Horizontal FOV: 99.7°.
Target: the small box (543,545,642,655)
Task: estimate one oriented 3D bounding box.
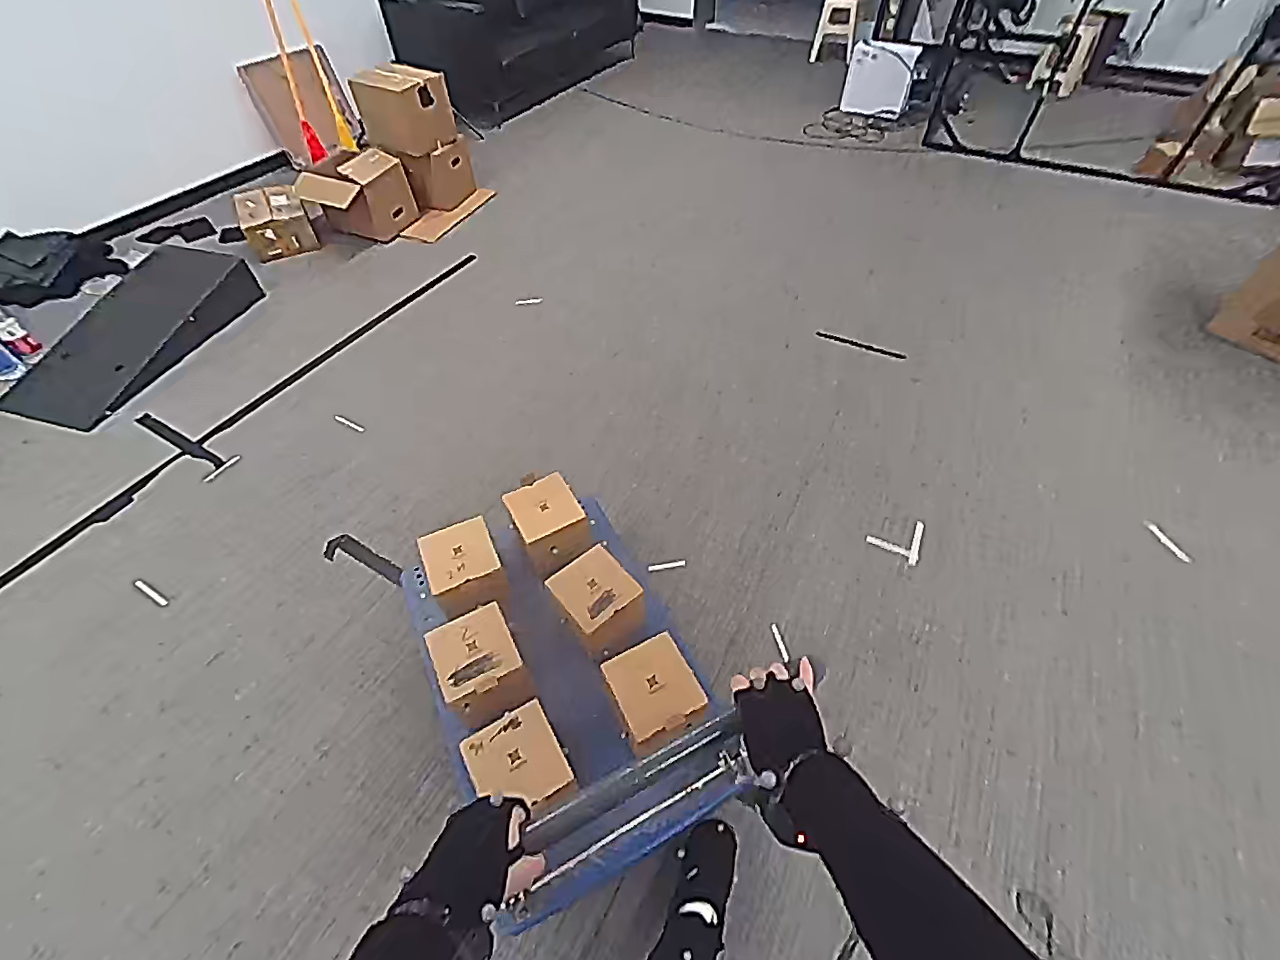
[{"bbox_3d":[-0.109,0.299,1.313,0.168,0.176,0.179,-34,57,-25],"label":"small box"}]

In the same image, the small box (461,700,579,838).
[{"bbox_3d":[-0.231,0.581,1.077,0.168,0.176,0.179,-25,55,-21],"label":"small box"}]

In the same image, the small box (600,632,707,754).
[{"bbox_3d":[0.027,0.469,1.174,0.168,0.176,0.179,-22,53,-18],"label":"small box"}]

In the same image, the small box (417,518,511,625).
[{"bbox_3d":[-0.441,0.232,1.367,0.168,0.176,0.179,-21,54,-17],"label":"small box"}]

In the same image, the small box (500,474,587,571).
[{"bbox_3d":[-0.256,0.122,1.460,0.168,0.176,0.179,-26,55,-19],"label":"small box"}]
